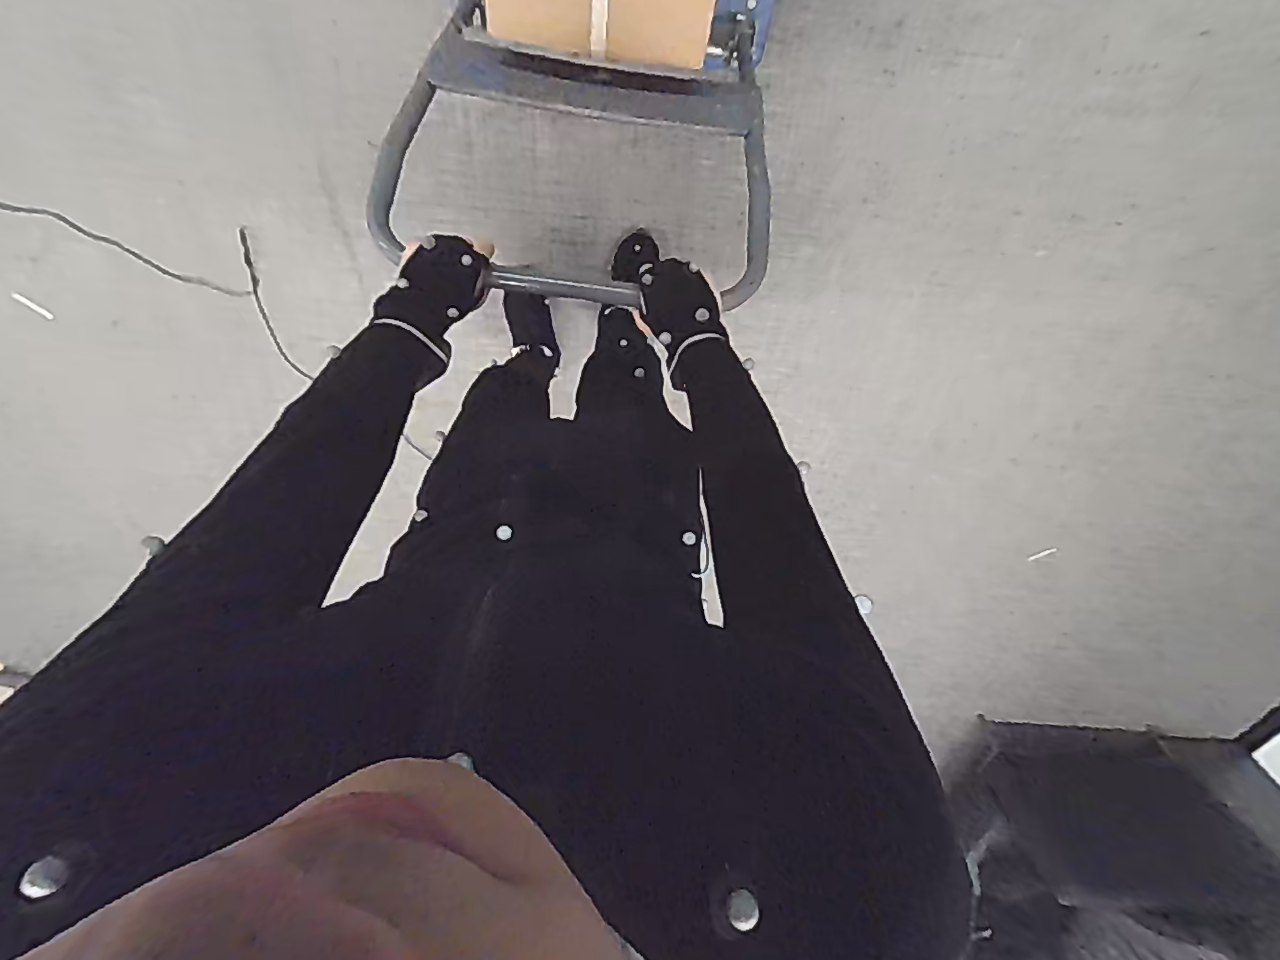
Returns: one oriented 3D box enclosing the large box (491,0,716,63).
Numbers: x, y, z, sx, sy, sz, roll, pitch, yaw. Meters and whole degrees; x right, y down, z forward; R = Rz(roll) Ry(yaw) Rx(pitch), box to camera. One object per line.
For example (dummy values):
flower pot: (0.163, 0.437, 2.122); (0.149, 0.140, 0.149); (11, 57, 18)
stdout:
large box: (-0.029, -0.864, 0.715); (0.320, 0.320, 0.408); (6, 145, -4)
